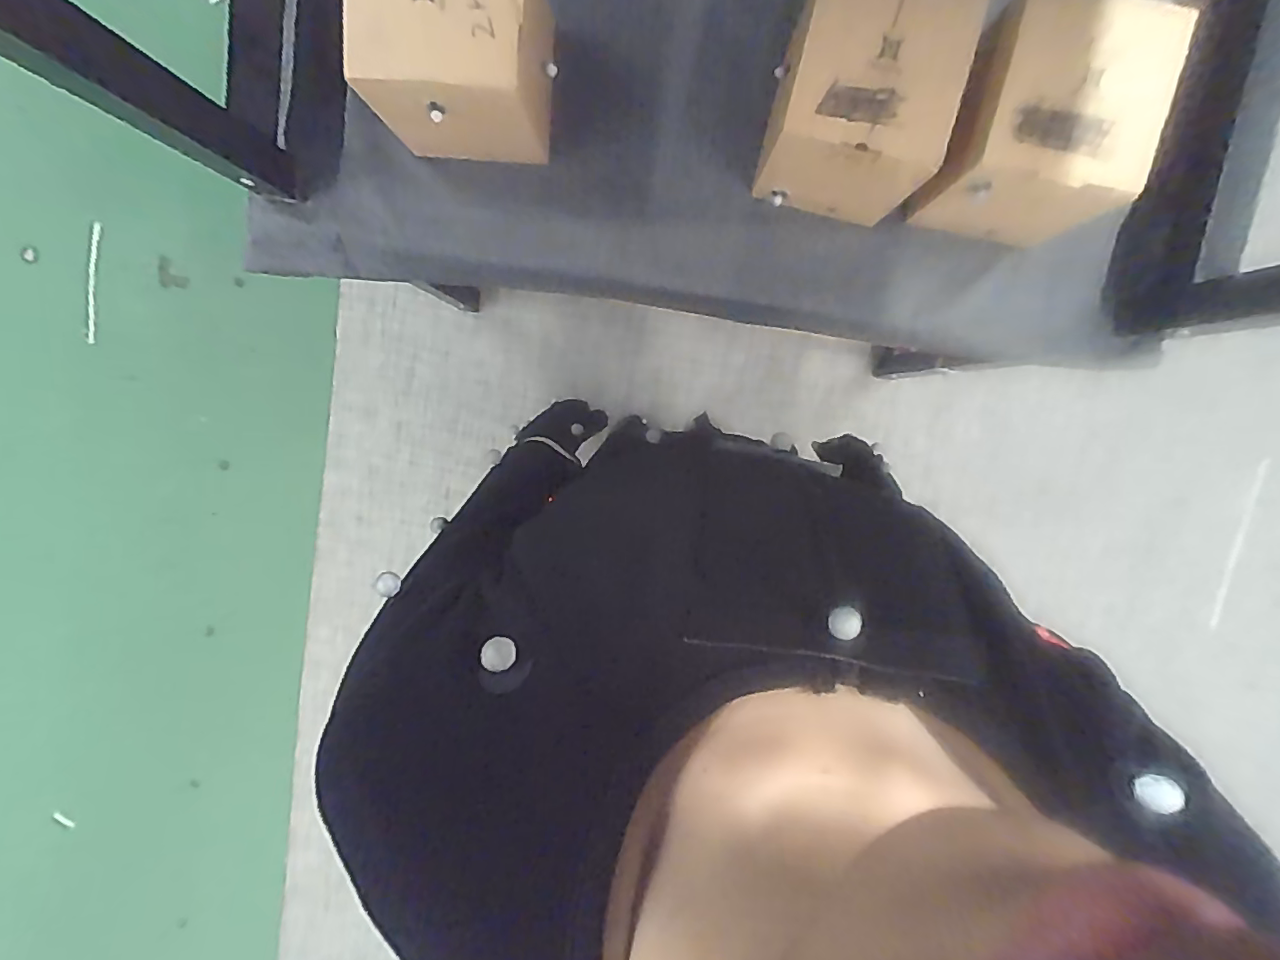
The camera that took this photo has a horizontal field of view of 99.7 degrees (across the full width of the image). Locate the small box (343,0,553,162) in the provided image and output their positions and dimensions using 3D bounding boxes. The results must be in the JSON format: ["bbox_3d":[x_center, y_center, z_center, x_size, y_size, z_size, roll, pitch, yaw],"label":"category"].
[{"bbox_3d":[-0.203,-0.483,0.609,0.179,0.176,0.168,4,98,0],"label":"small box"}]
